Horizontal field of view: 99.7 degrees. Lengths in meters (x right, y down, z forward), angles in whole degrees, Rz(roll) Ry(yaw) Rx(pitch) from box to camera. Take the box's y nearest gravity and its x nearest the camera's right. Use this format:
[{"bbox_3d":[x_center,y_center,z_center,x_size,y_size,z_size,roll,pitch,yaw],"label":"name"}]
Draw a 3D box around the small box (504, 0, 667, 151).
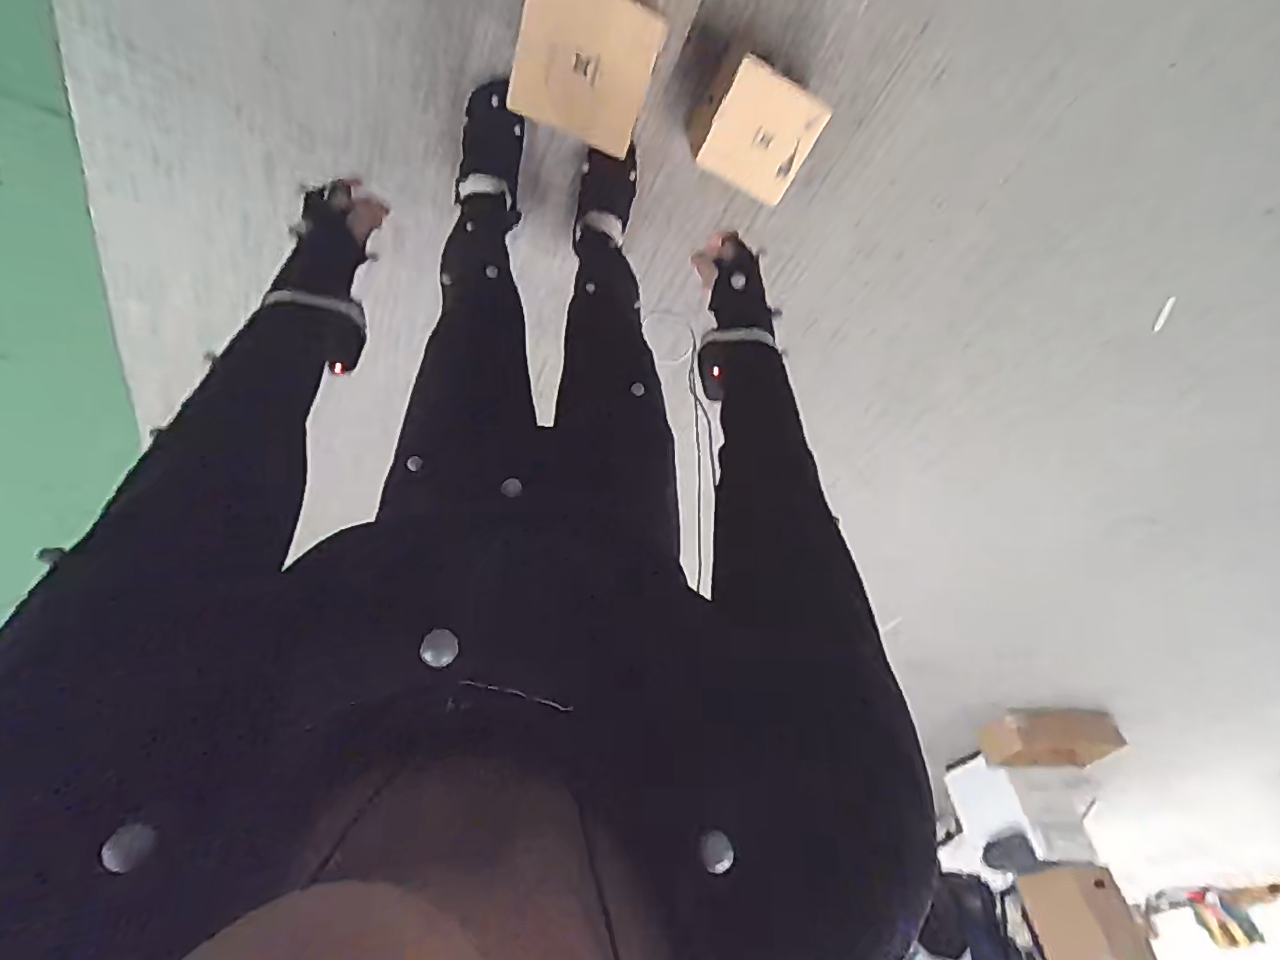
[{"bbox_3d":[-0.076,-0.610,0.769,0.179,0.176,0.168,17,131,-16],"label":"small box"}]
